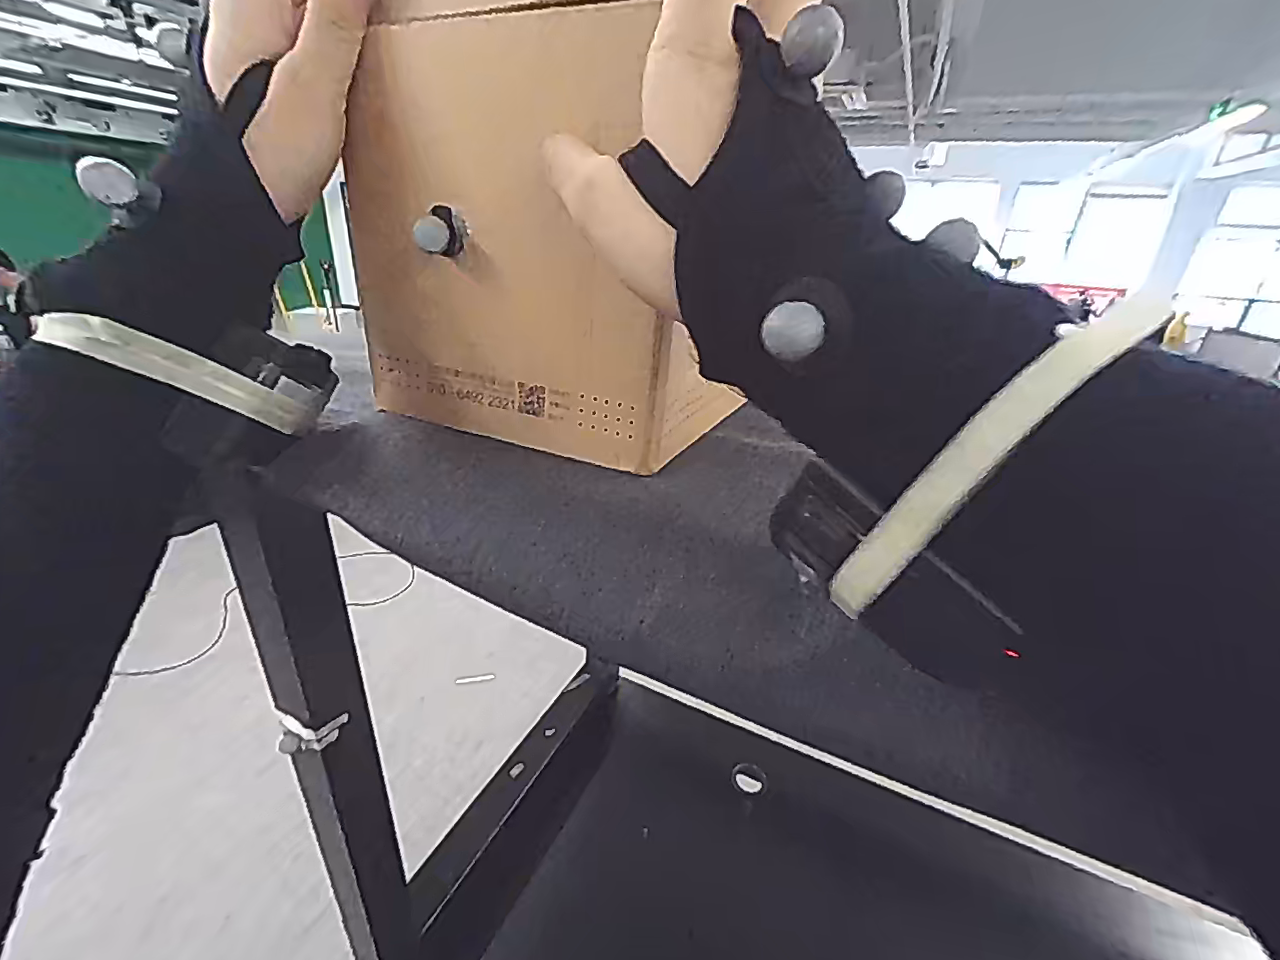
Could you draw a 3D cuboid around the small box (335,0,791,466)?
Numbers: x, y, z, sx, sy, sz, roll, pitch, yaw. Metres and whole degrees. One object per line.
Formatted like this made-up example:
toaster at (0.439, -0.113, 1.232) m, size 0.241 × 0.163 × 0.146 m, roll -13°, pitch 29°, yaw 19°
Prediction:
small box at (-0.026, -0.118, 0.301) m, size 0.168 × 0.176 × 0.179 m, roll 14°, pitch 24°, yaw 21°
